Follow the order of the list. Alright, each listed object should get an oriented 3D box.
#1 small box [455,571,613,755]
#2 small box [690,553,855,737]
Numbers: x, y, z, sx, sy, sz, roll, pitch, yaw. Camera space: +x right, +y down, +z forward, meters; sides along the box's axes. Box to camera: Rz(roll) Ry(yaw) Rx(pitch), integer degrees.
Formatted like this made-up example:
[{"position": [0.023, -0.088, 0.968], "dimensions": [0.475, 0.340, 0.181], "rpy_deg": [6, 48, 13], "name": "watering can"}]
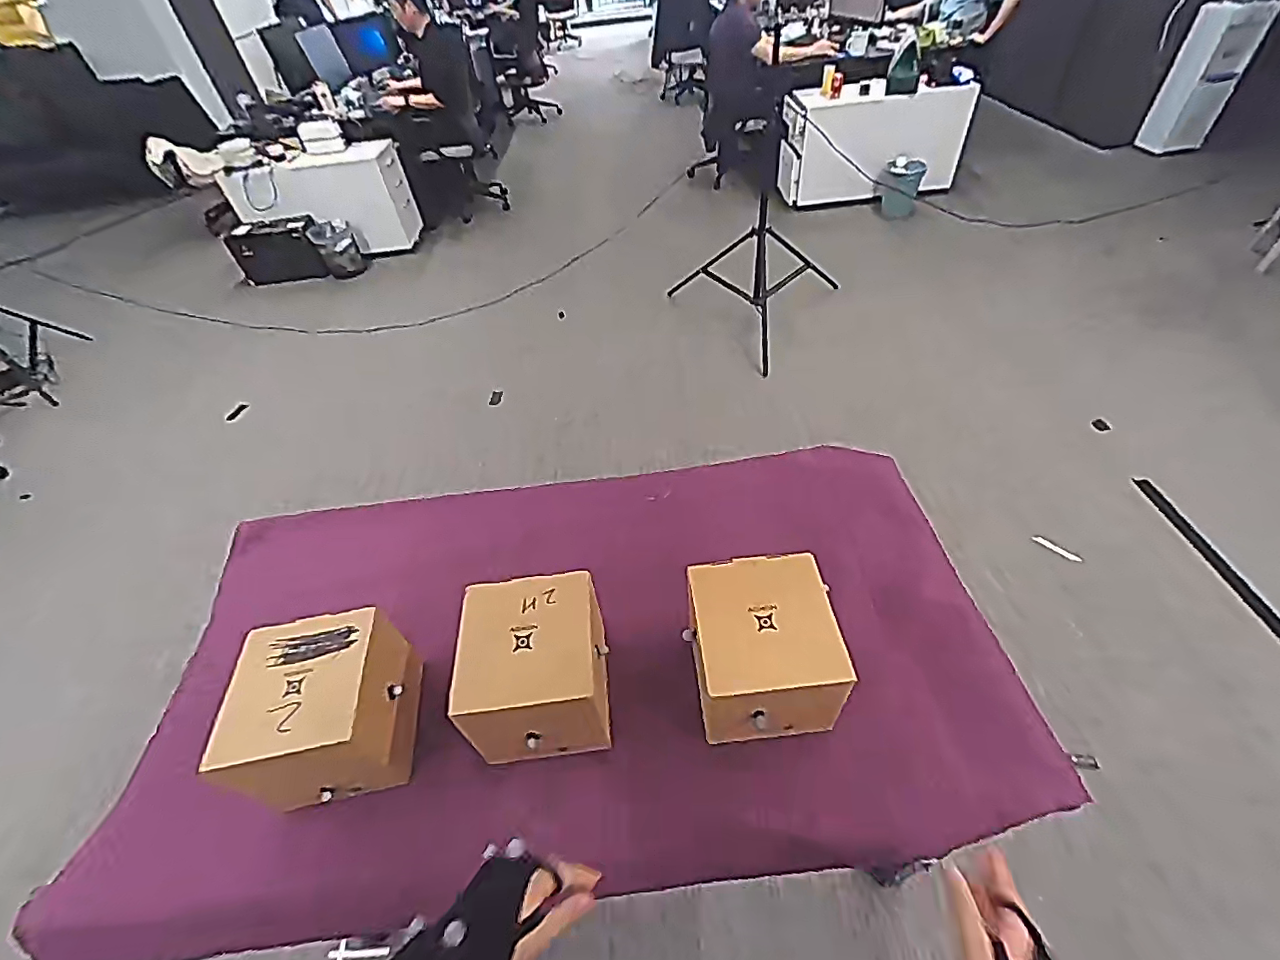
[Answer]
[{"position": [-0.129, 0.249, 0.721], "dimensions": [0.168, 0.176, 0.179], "rpy_deg": [-7, 45, -1], "name": "small box"}, {"position": [0.161, 0.223, 0.712], "dimensions": [0.168, 0.176, 0.179], "rpy_deg": [-7, 46, 1], "name": "small box"}]
